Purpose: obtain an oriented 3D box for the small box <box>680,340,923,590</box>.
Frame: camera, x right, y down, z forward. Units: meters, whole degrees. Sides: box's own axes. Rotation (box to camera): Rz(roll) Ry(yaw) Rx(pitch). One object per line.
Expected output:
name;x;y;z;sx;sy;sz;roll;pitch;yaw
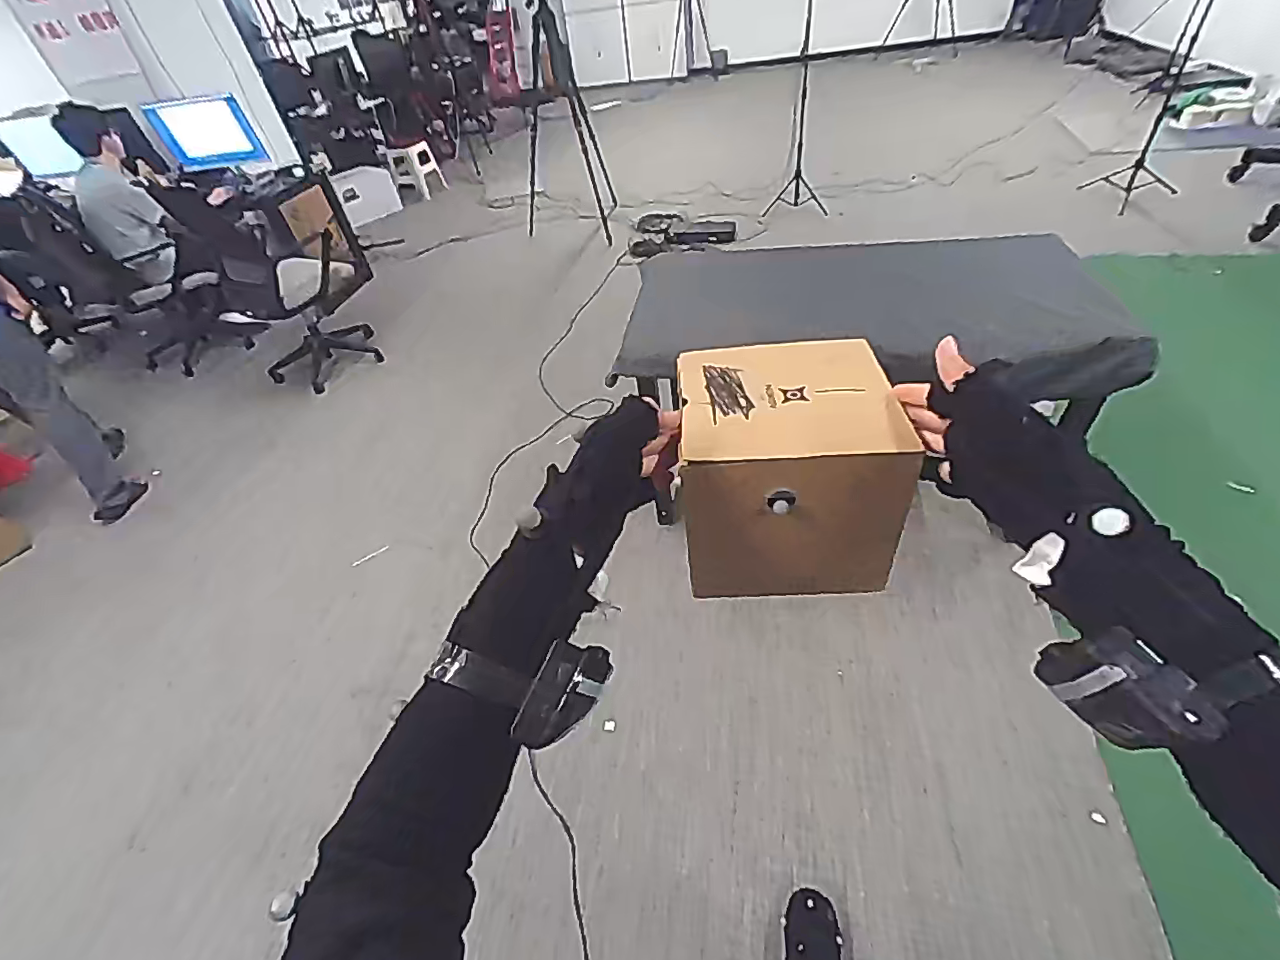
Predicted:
small box;0.131;-0.011;0.505;0.179;0.176;0.168;-3;42;6
